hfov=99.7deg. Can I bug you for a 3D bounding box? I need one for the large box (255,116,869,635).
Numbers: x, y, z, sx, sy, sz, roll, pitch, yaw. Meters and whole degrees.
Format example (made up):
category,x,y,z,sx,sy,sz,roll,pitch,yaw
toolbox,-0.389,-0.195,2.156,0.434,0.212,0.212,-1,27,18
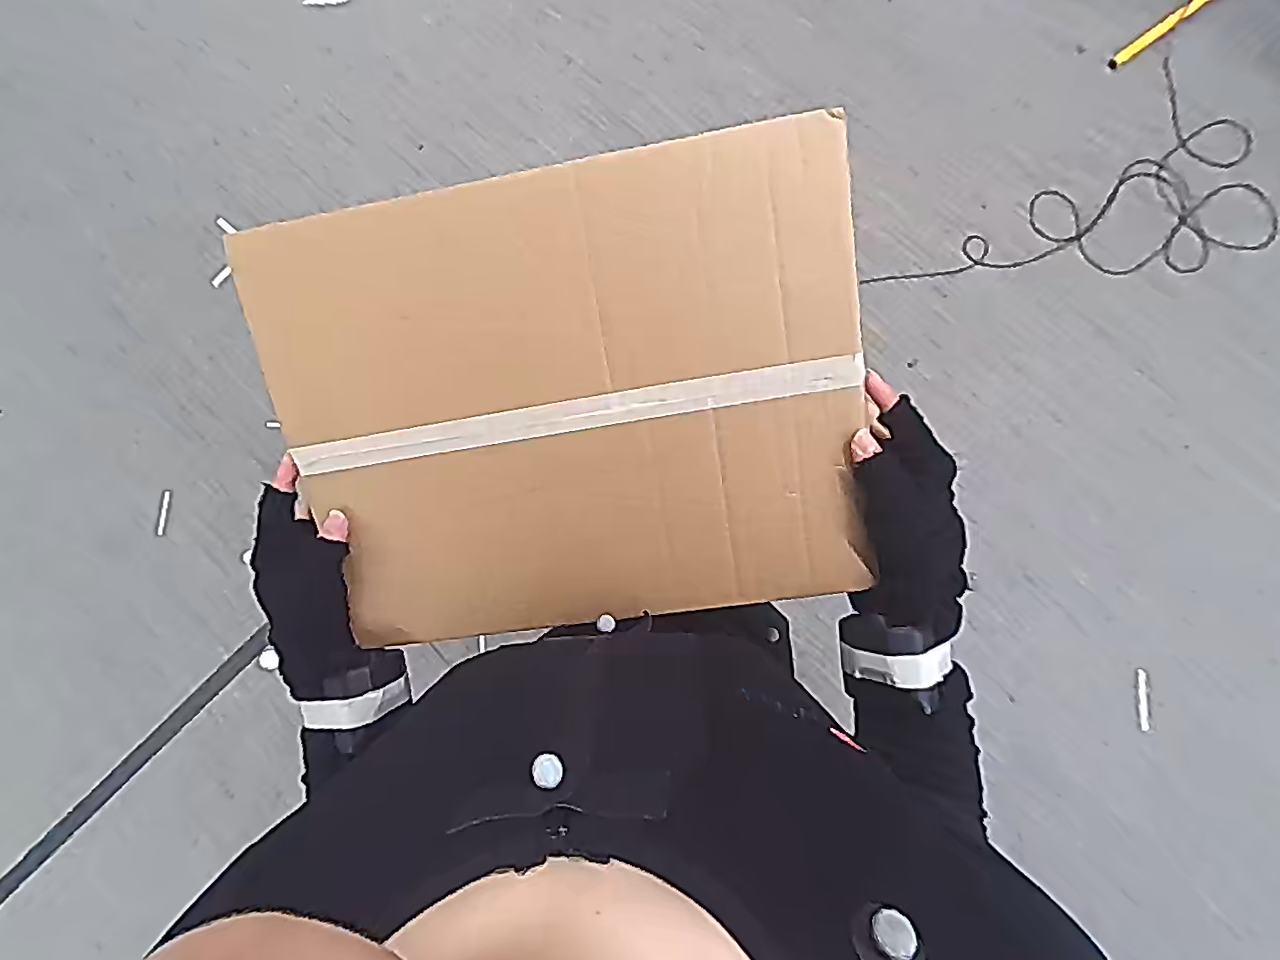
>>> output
category,x,y,z,sx,sy,sz,roll,pitch,yaw
large box,-0.041,-0.083,0.530,0.408,0.320,0.320,-8,104,6
